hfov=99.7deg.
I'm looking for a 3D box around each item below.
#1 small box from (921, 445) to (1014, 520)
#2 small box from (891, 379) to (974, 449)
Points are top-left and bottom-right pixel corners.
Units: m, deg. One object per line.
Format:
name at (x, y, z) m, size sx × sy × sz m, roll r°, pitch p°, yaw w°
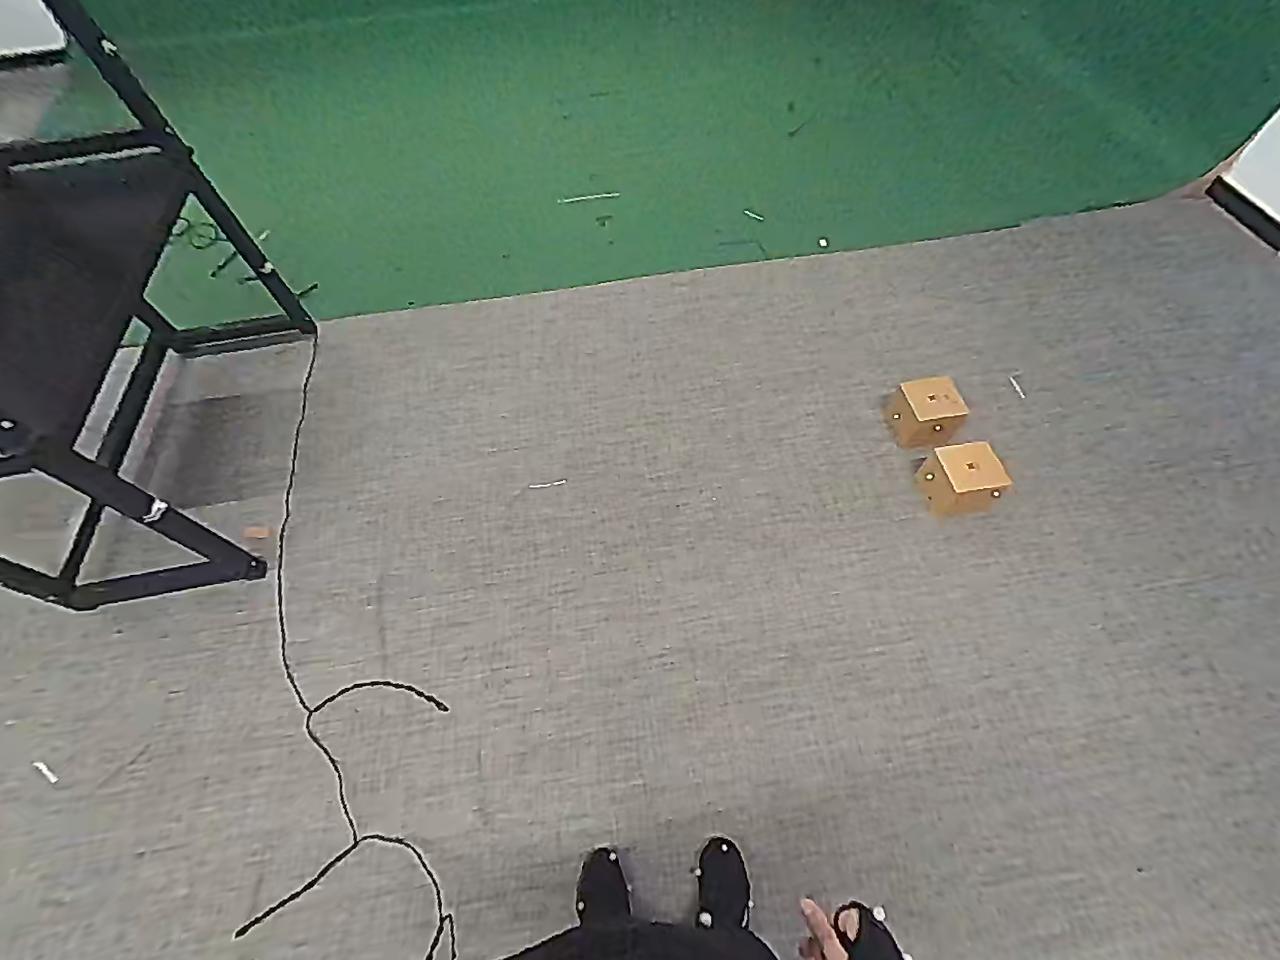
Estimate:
small box at (1.009, 0.013, 1.690) m, size 0.179 × 0.176 × 0.168 m, roll -6°, pitch 59°, yaw -2°
small box at (0.974, -0.217, 1.824) m, size 0.179 × 0.176 × 0.168 m, roll -6°, pitch 60°, yaw -2°
